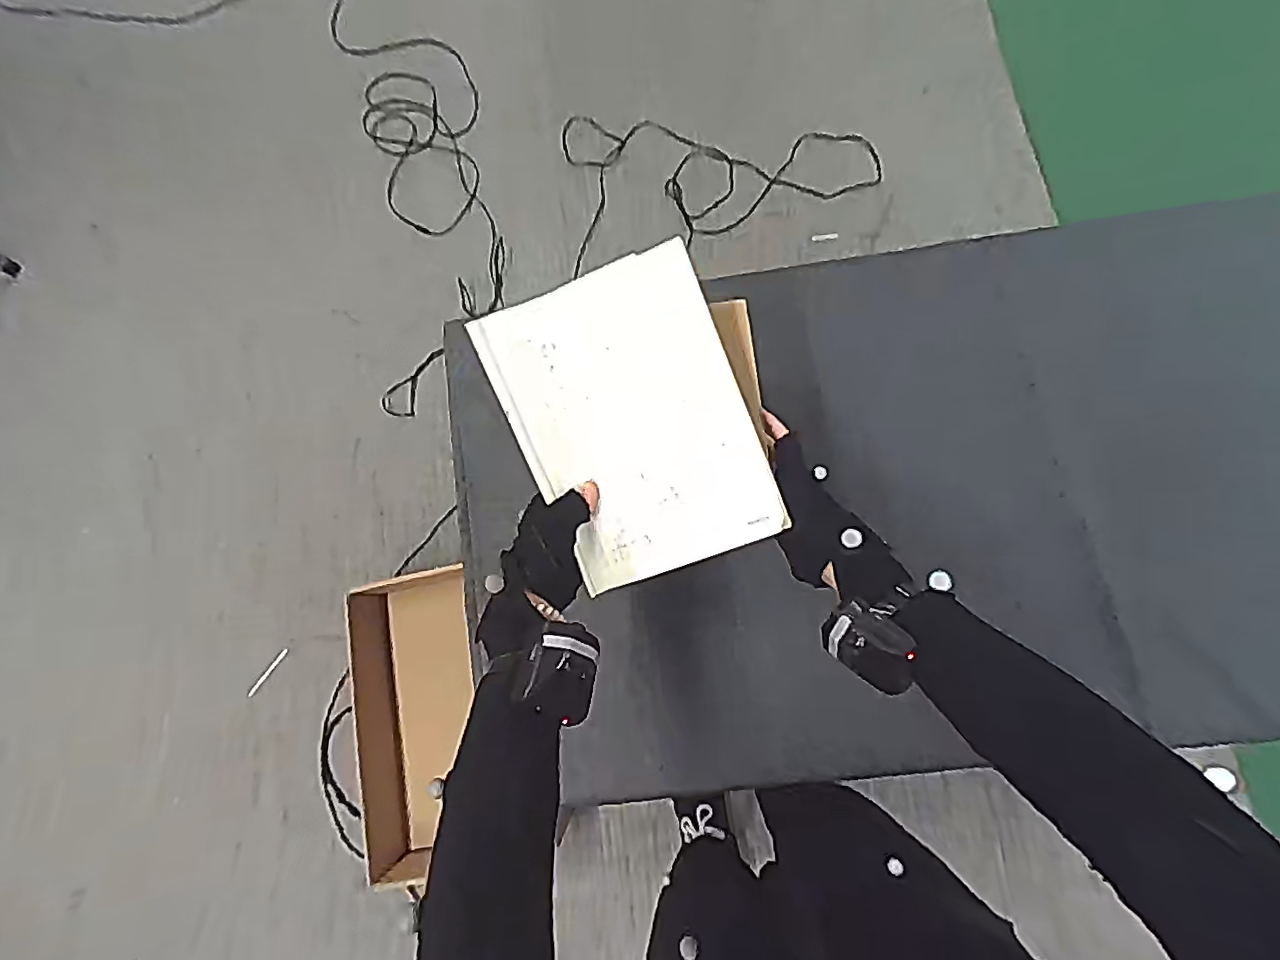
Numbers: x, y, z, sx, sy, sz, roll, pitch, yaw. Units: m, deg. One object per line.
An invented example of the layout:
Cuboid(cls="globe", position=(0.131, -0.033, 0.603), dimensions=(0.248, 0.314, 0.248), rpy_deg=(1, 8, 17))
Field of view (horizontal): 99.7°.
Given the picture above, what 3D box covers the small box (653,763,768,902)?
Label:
Cuboid(cls="small box", position=(0.147, 0.742, 1.158), dimensions=(0.179, 0.176, 0.168), rpy_deg=(18, 85, 32))
